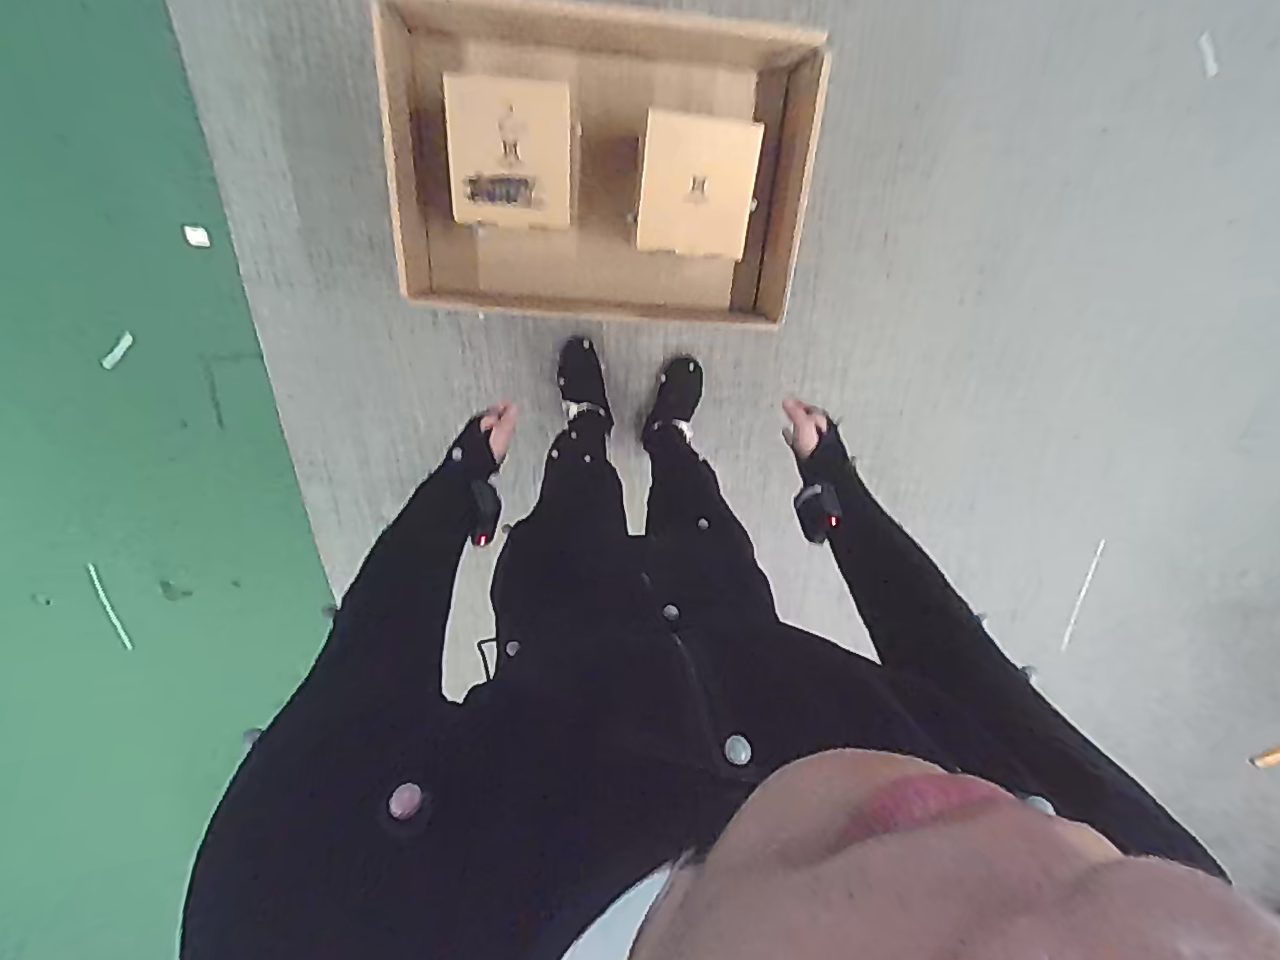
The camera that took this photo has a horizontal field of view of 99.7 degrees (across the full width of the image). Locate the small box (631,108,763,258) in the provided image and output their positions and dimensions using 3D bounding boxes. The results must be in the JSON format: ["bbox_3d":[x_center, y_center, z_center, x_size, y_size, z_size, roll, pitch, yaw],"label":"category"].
[{"bbox_3d":[0.077,-0.450,0.842,0.168,0.176,0.179,3,114,-6],"label":"small box"}]
